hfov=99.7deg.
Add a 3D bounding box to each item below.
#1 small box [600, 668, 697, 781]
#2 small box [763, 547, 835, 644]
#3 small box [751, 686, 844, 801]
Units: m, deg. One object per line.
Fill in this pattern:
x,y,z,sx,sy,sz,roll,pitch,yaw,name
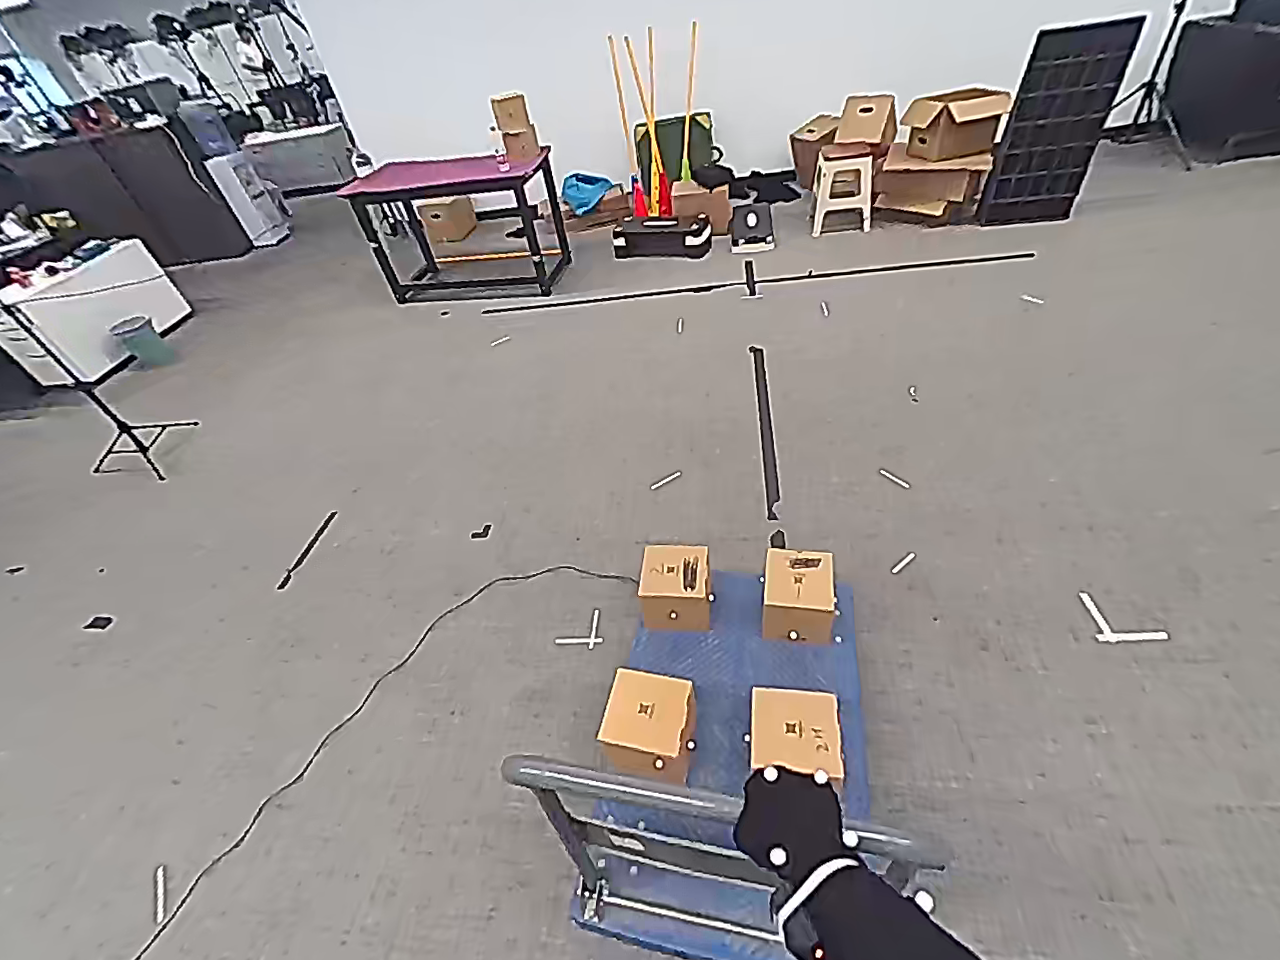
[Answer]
0.027,0.553,1.221,0.179,0.176,0.168,5,44,14,small box
0.411,0.300,1.408,0.168,0.176,0.179,3,46,15,small box
0.328,0.561,1.149,0.179,0.176,0.168,1,44,12,small box
